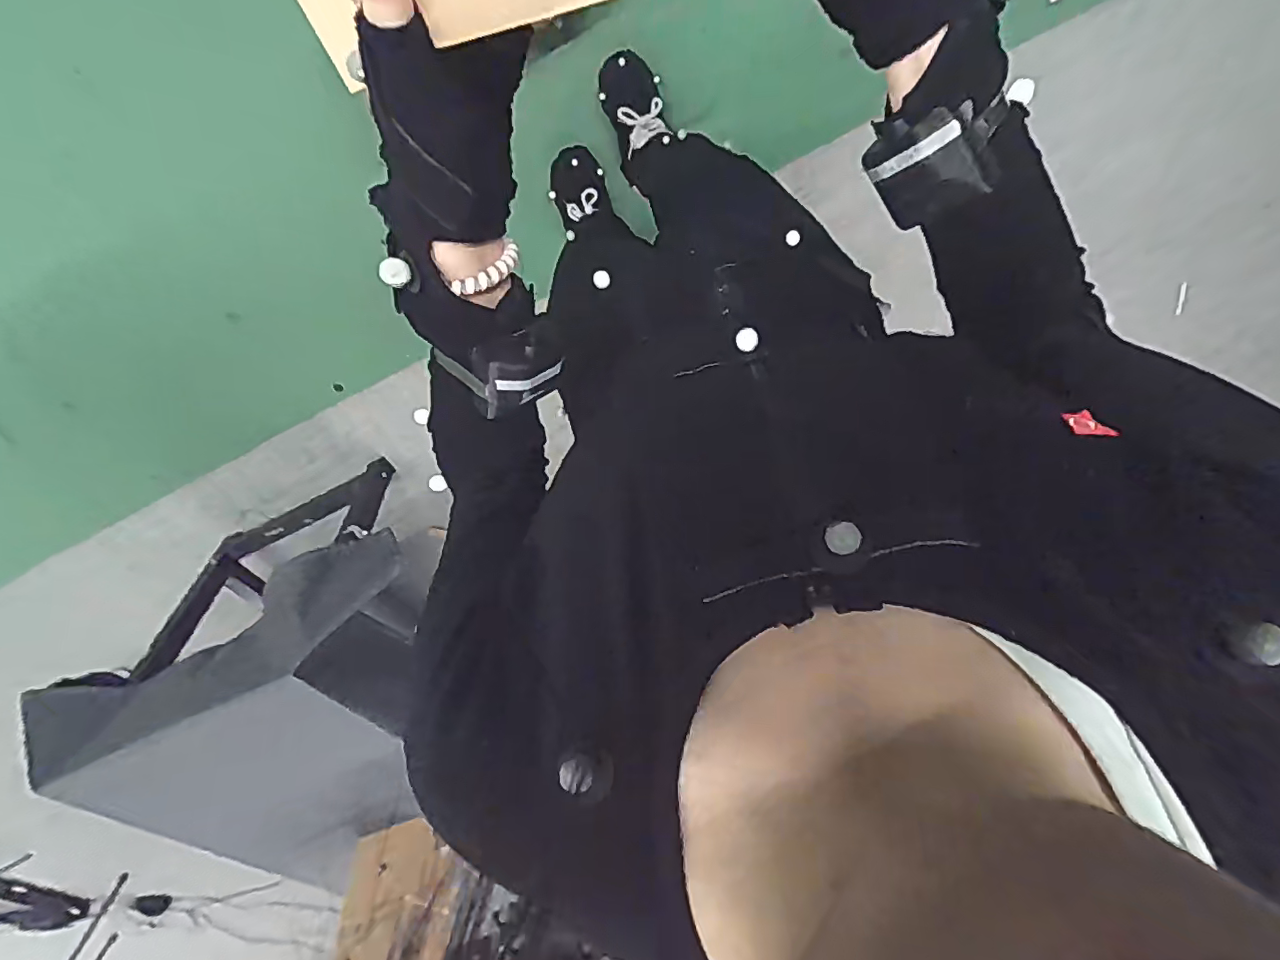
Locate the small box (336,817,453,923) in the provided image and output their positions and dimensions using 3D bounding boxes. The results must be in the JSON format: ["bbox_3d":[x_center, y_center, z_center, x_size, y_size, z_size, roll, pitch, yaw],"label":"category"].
[{"bbox_3d":[-0.564,0.932,1.272,0.179,0.176,0.168,-24,126,7],"label":"small box"}]

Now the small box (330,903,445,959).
[{"bbox_3d":[-0.541,1.030,1.143,0.168,0.176,0.179,-25,126,9],"label":"small box"}]

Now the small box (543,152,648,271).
[{"bbox_3d":[-0.102,-0.594,1.196,0.179,0.176,0.168,24,130,-6],"label":"small box"}]

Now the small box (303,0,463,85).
[{"bbox_3d":[-0.392,-0.727,0.820,0.179,0.176,0.168,-21,126,5],"label":"small box"}]
